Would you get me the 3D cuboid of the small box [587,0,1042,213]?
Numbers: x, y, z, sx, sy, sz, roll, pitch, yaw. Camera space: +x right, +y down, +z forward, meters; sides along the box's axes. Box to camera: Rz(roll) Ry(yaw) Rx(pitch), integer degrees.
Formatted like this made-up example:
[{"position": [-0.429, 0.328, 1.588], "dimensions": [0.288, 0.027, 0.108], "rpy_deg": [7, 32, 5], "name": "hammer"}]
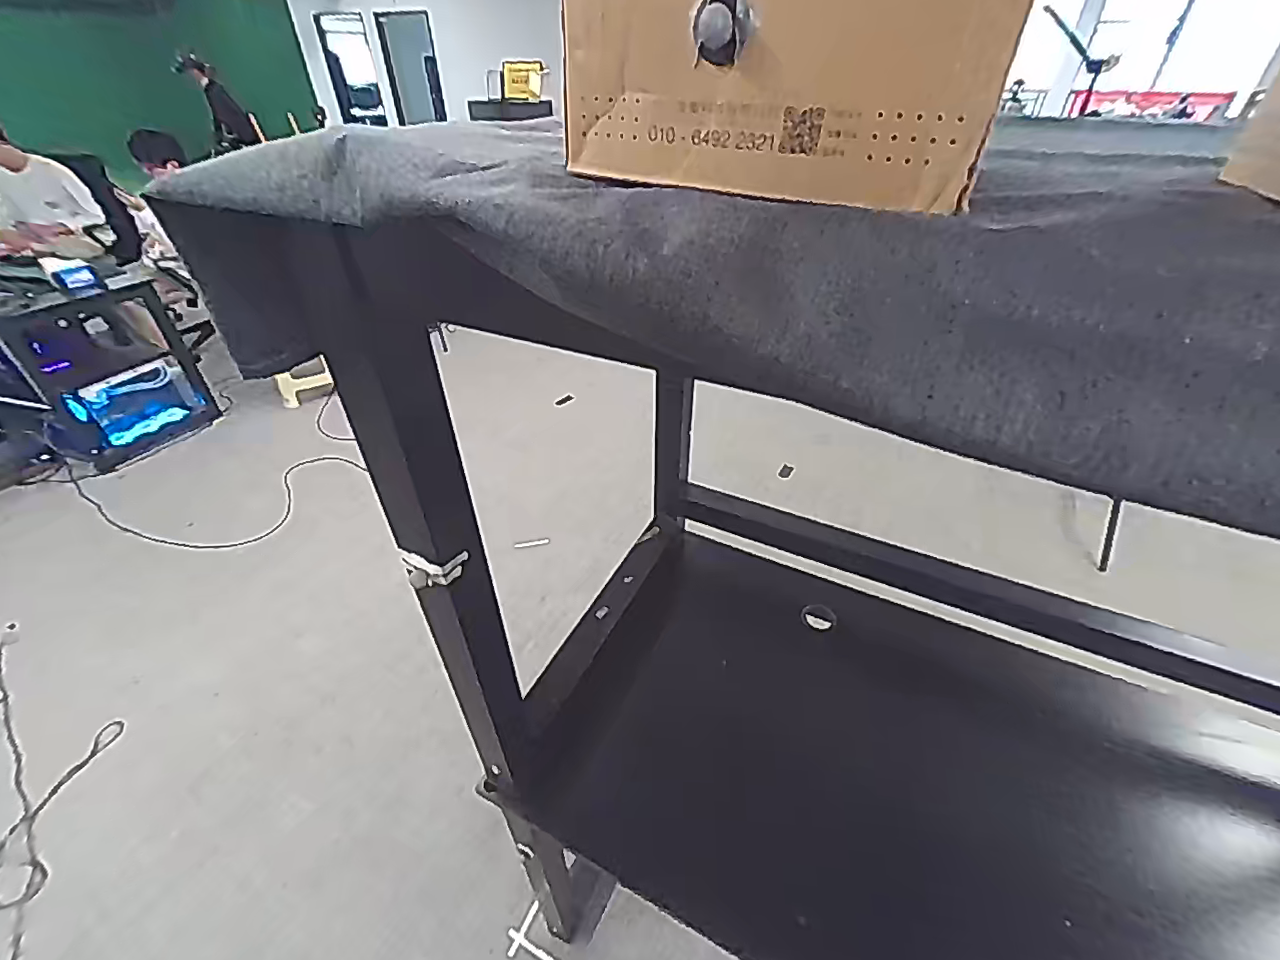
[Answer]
[{"position": [0.083, -0.228, 0.231], "dimensions": [0.168, 0.176, 0.179], "rpy_deg": [18, 40, 20], "name": "small box"}]
